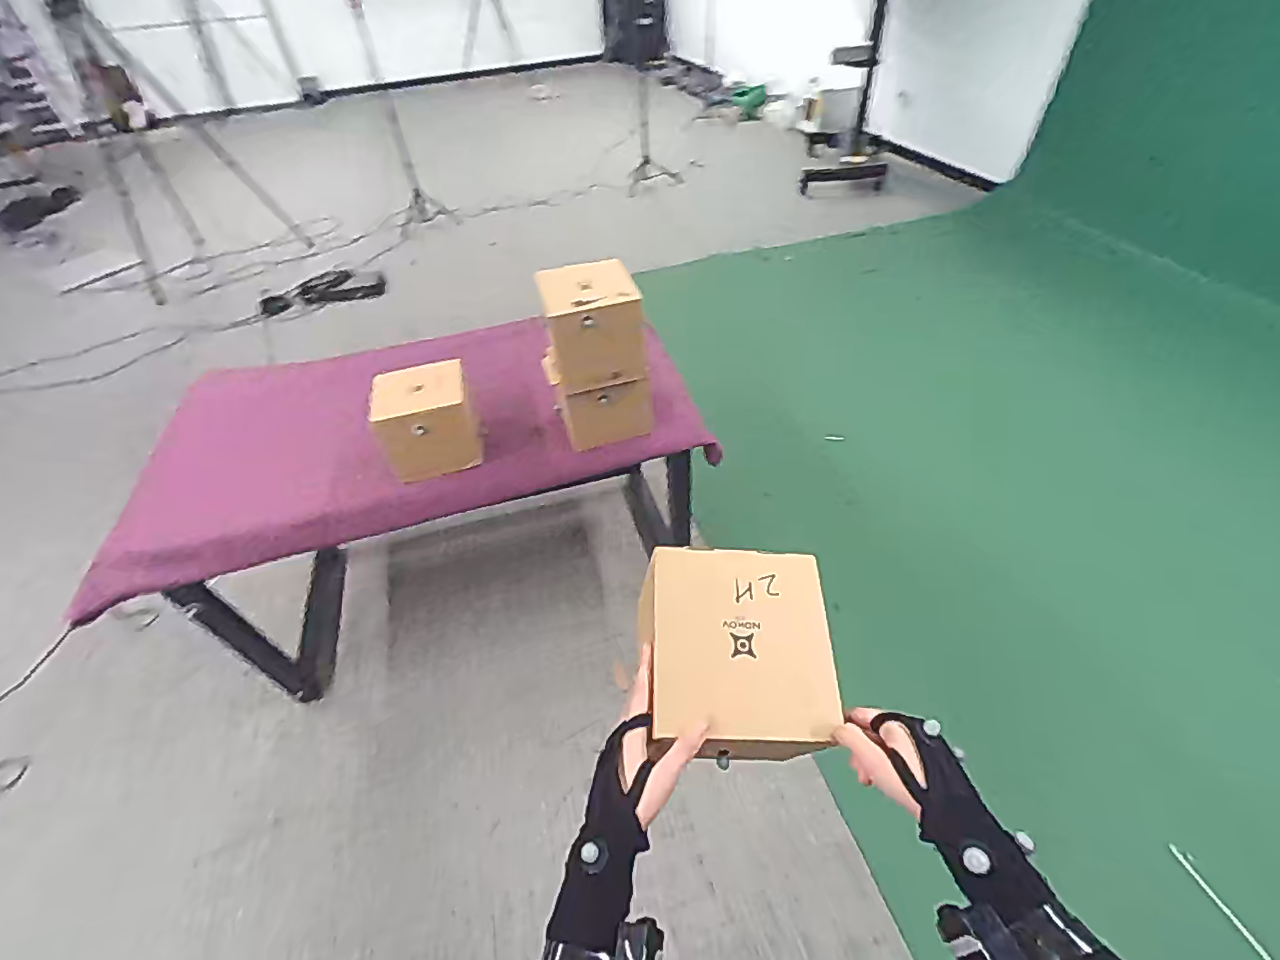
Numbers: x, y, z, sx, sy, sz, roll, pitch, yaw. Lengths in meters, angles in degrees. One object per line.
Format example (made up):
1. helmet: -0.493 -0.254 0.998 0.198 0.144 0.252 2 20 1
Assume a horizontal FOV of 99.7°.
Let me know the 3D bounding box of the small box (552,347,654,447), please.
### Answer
1. small box: -0.076 -0.193 1.165 0.179 0.176 0.168 -15 47 -10

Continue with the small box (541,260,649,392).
1. small box: -0.084 -0.294 1.035 0.168 0.176 0.179 -14 46 -7

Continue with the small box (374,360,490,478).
1. small box: -0.428 -0.125 1.133 0.179 0.176 0.168 -13 45 -8
